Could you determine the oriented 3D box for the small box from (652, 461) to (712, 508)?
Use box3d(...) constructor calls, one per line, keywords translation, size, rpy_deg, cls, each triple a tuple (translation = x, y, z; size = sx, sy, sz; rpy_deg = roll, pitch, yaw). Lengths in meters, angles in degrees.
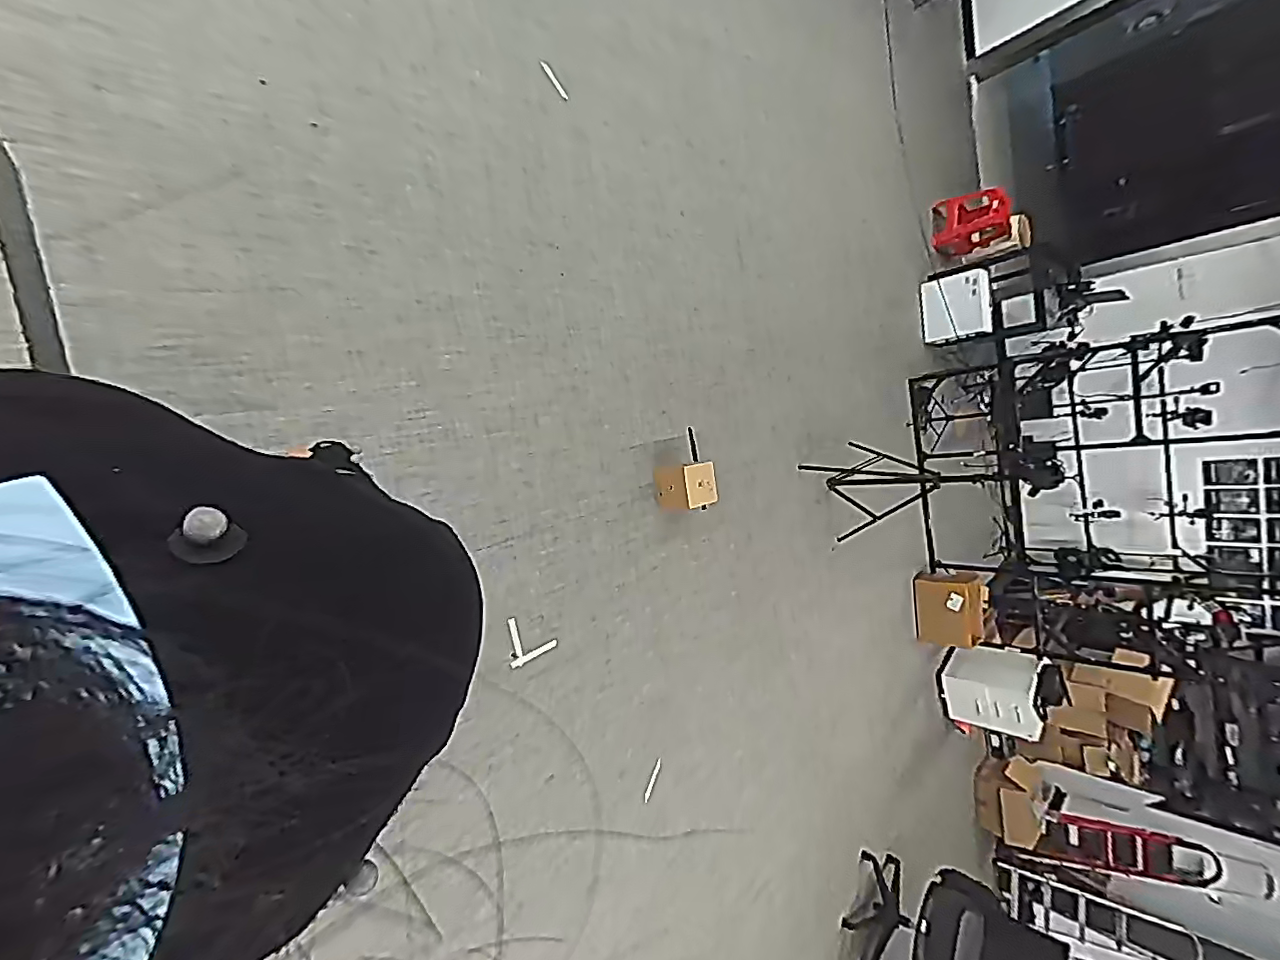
box3d(translation=(0.162, 0.019, 2.159), size=(0.179, 0.176, 0.168), rpy_deg=(-12, 97, -43), cls="small box")
